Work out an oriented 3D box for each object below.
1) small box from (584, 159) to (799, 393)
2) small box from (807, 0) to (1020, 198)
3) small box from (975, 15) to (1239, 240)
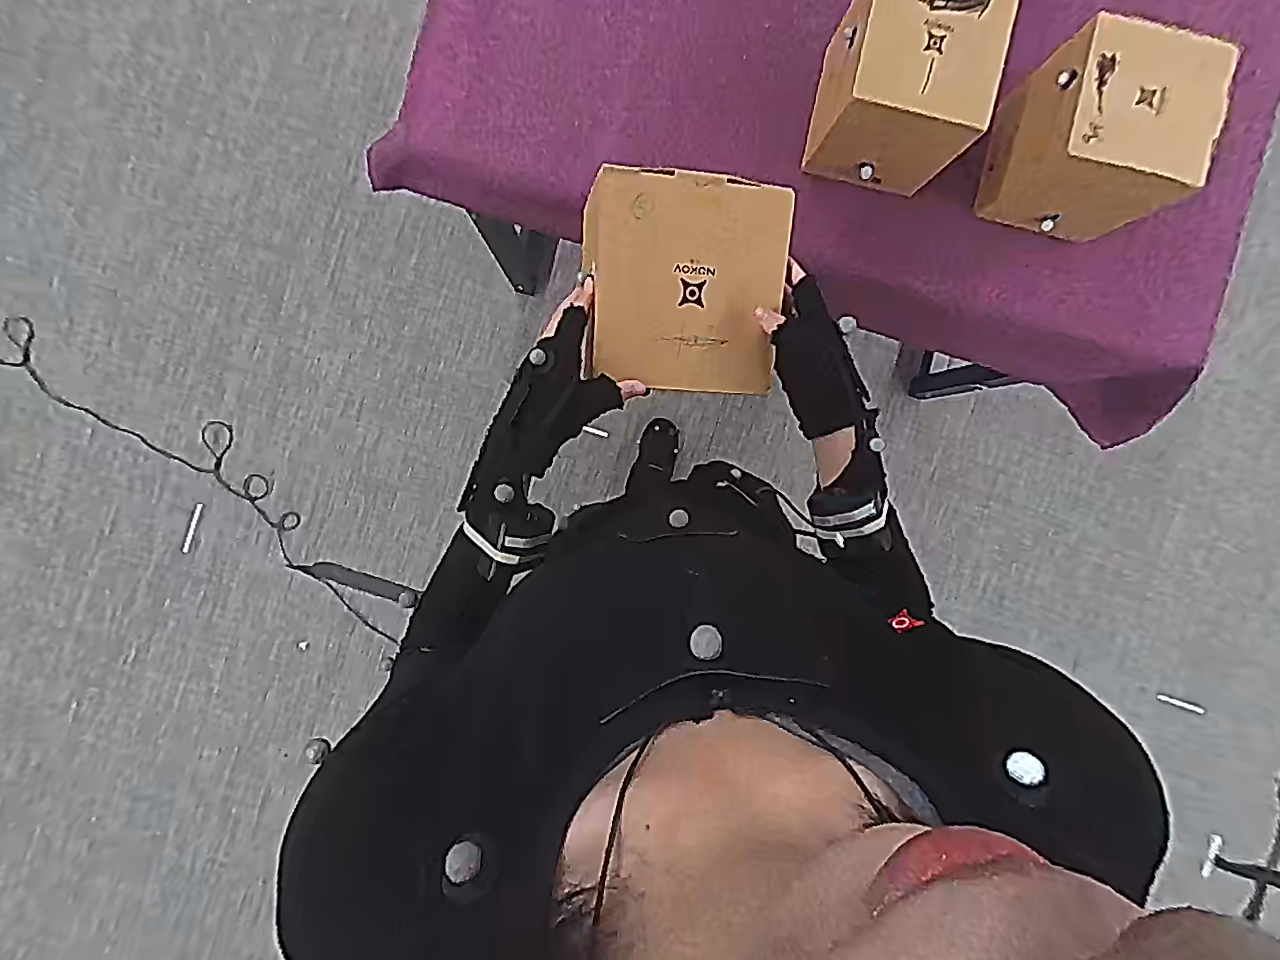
[{"bbox_3d":[0.034,-0.185,0.531,0.168,0.176,0.179,1,105,-10],"label":"small box"},{"bbox_3d":[0.331,-0.499,0.686,0.168,0.176,0.179,12,92,-3],"label":"small box"},{"bbox_3d":[0.586,-0.435,0.701,0.179,0.176,0.168,12,92,-3],"label":"small box"}]
